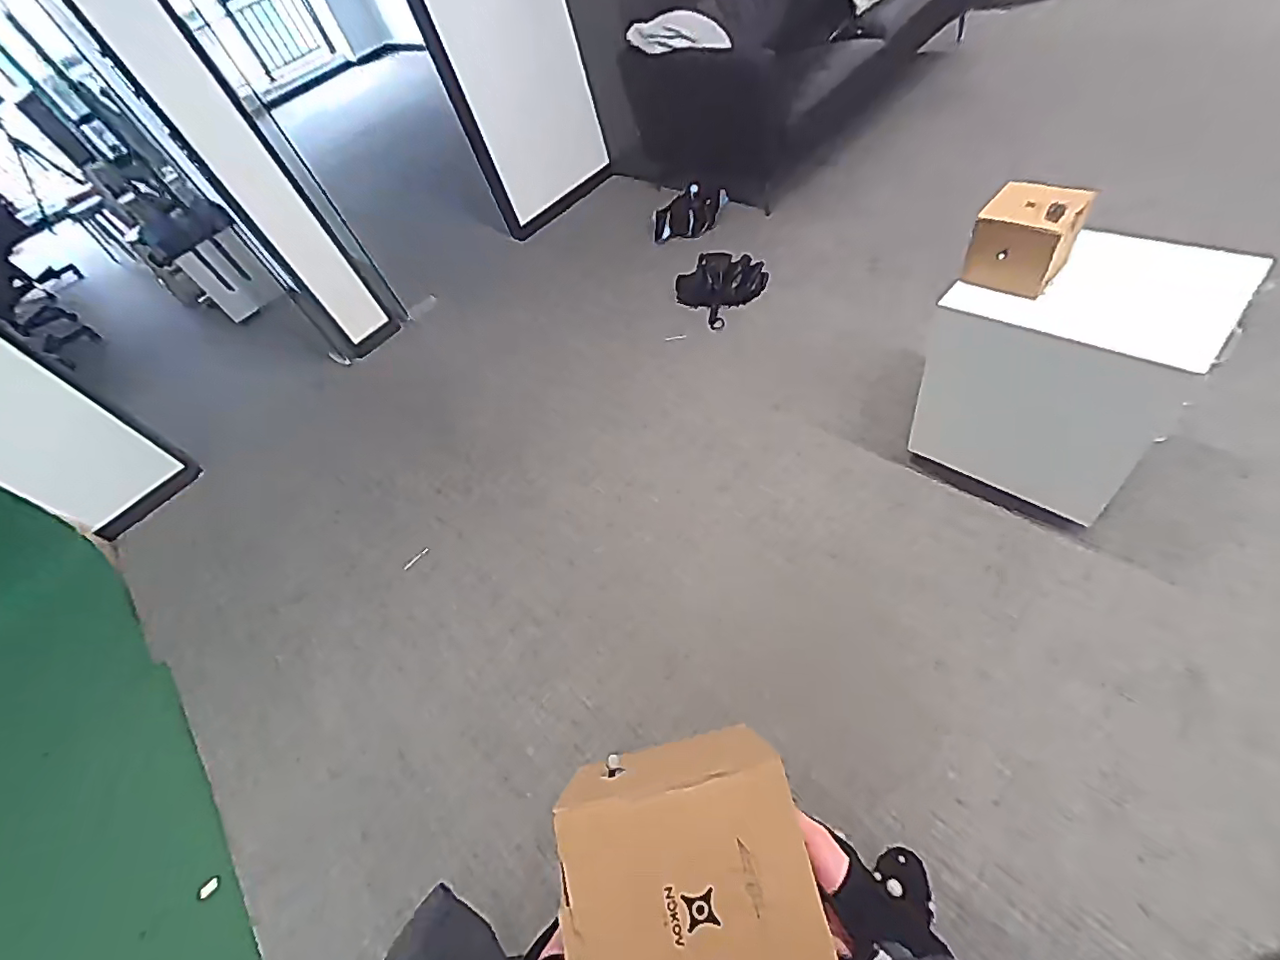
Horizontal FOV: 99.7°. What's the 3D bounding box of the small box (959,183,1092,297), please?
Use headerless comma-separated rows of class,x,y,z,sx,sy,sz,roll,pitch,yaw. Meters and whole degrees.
small box,0.877,-0.549,1.247,0.179,0.176,0.168,33,68,34
